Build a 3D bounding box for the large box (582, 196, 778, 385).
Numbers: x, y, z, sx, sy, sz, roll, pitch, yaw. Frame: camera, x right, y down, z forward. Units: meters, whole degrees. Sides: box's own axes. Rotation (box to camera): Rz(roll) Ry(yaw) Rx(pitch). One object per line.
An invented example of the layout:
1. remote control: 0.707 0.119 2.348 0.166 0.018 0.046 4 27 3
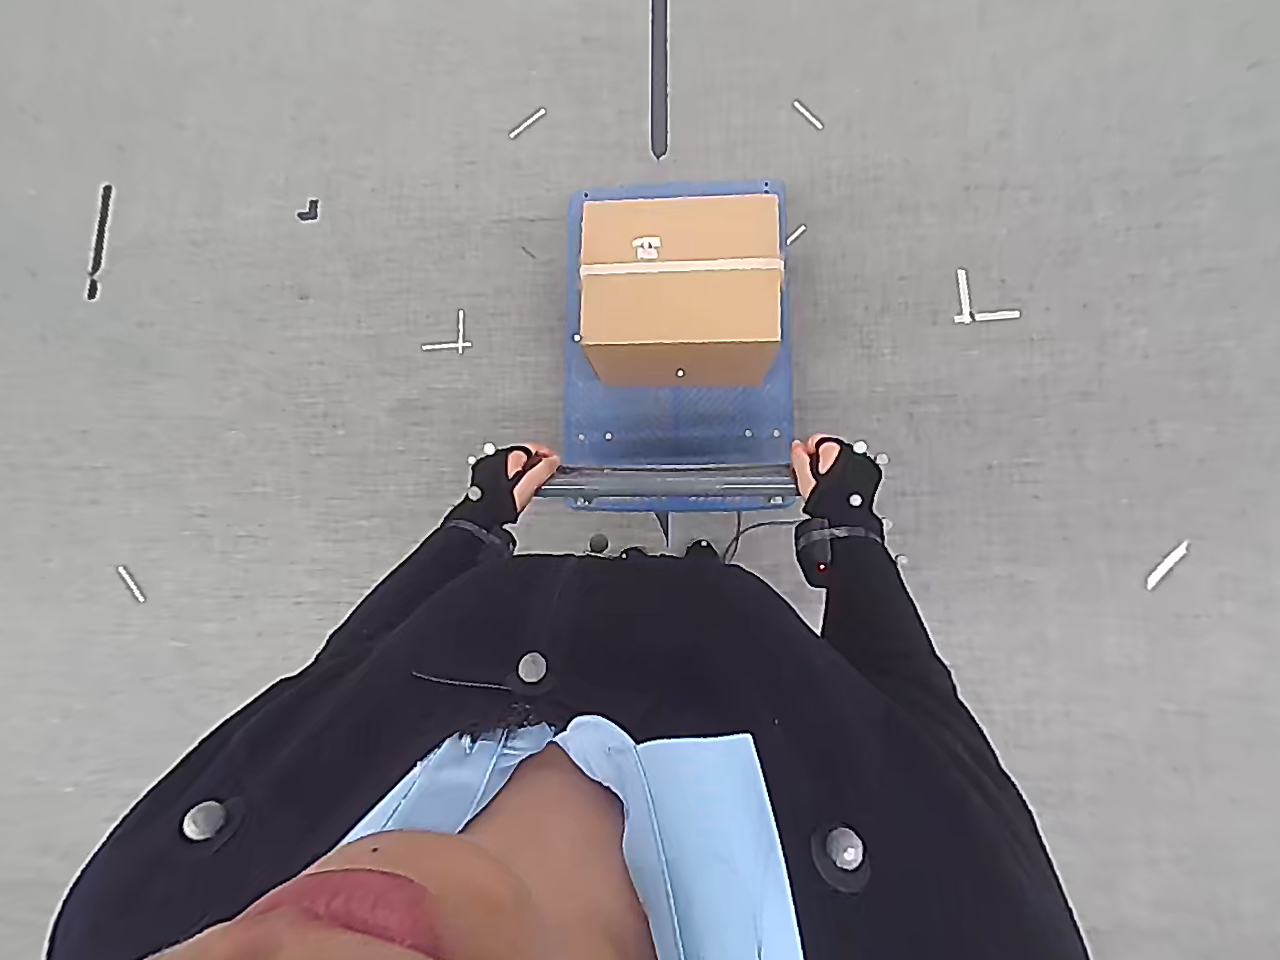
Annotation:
1. large box: 0.094 -0.414 1.261 0.408 0.320 0.320 0 83 6
